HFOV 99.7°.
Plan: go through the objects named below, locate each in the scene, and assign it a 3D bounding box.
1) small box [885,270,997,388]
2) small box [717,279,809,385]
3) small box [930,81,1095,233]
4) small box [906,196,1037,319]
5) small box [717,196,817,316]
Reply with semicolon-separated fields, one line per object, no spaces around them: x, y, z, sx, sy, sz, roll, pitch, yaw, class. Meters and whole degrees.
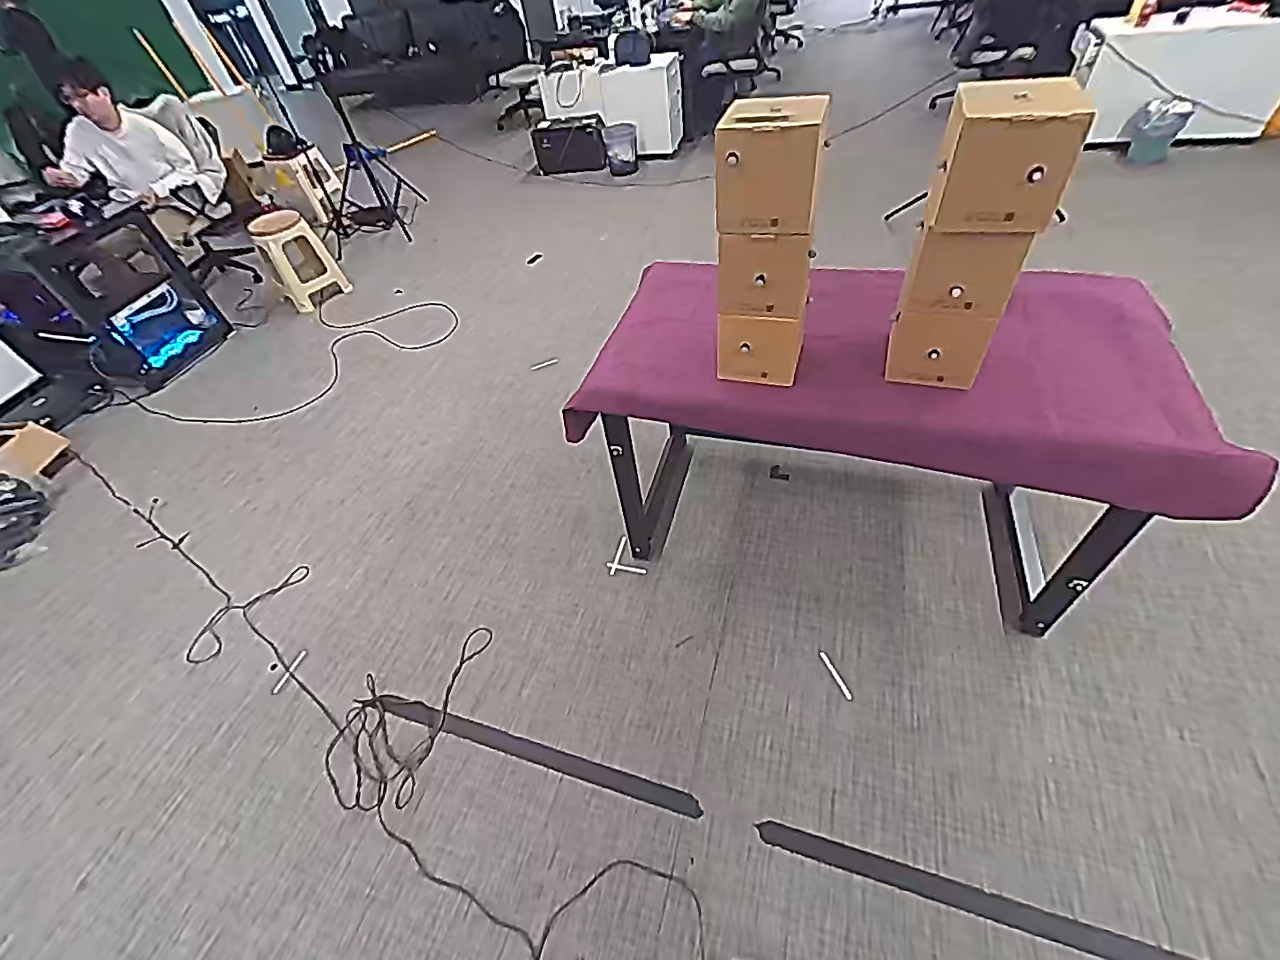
0.619;-0.313;1.125;0.168;0.176;0.179;12;51;18;small box
0.271;-0.330;1.196;0.168;0.176;0.179;10;49;17;small box
0.581;-0.516;0.872;0.168;0.176;0.179;9;50;15;small box
0.604;-0.425;1.006;0.168;0.176;0.179;11;51;18;small box
0.253;-0.445;1.080;0.168;0.176;0.179;8;50;15;small box
